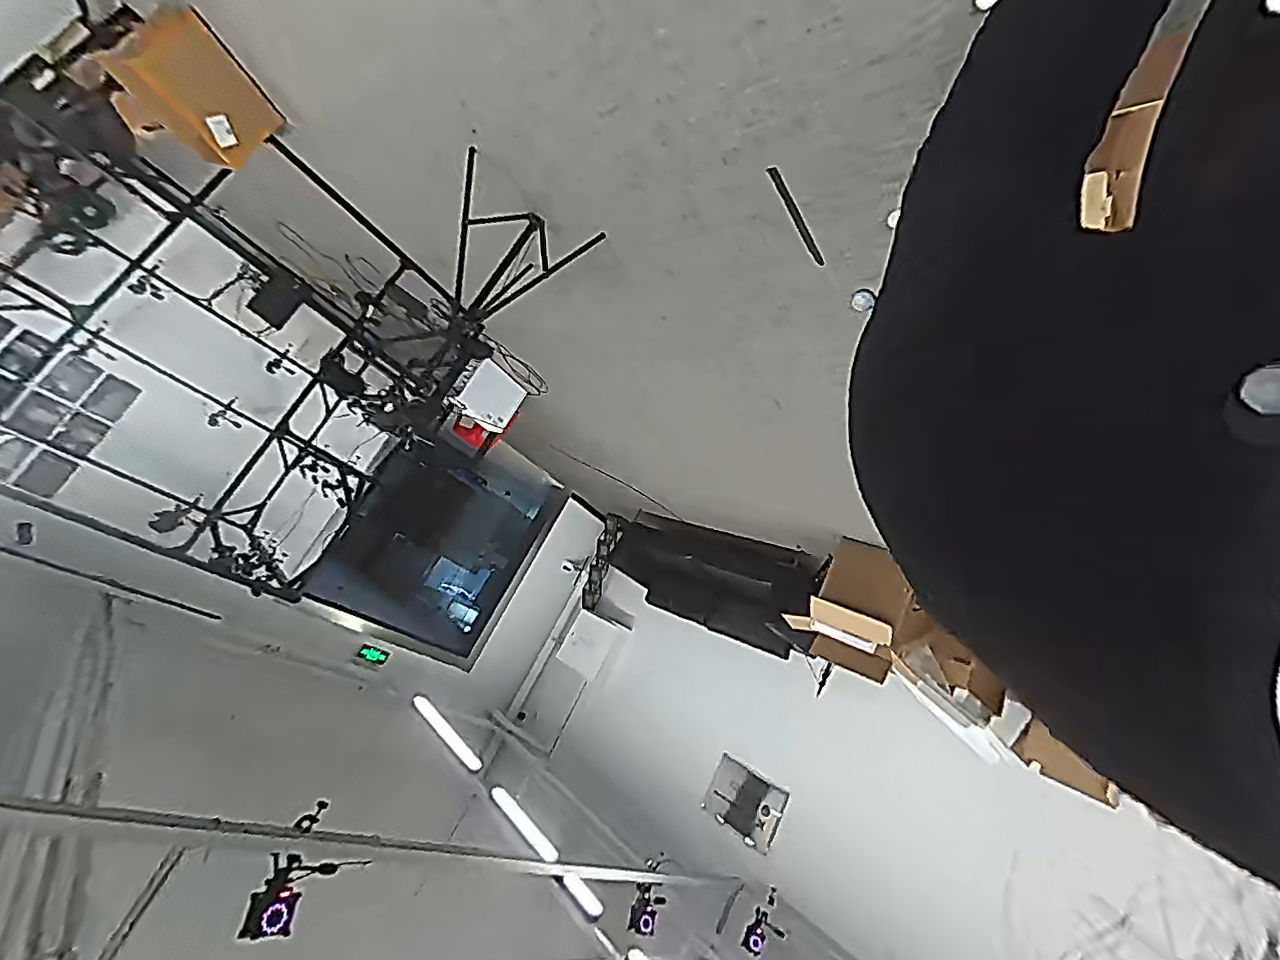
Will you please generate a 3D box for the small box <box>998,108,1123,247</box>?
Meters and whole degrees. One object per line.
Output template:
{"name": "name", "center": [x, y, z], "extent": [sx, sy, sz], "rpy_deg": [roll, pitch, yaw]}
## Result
{"name": "small box", "center": [0.853, -0.609, 1.098], "extent": [0.179, 0.176, 0.168], "rpy_deg": [11, 158, 43]}
